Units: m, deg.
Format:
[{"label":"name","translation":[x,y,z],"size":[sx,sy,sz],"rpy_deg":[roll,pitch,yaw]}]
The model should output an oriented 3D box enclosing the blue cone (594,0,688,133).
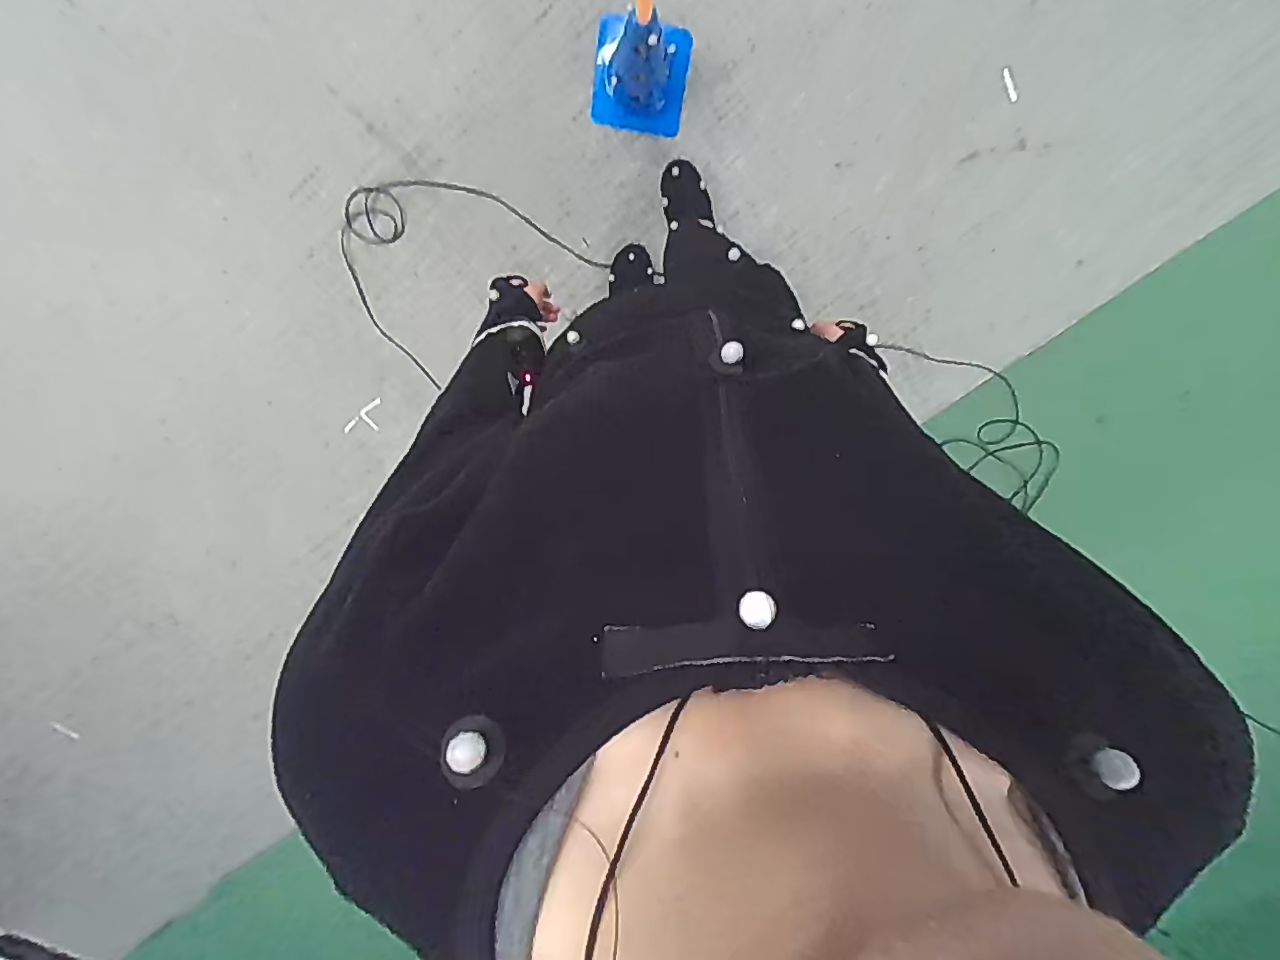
[{"label":"blue cone","translation":[0.003,-0.786,0.992],"size":[0.192,0.380,0.193],"rpy_deg":[7,113,-4]}]
